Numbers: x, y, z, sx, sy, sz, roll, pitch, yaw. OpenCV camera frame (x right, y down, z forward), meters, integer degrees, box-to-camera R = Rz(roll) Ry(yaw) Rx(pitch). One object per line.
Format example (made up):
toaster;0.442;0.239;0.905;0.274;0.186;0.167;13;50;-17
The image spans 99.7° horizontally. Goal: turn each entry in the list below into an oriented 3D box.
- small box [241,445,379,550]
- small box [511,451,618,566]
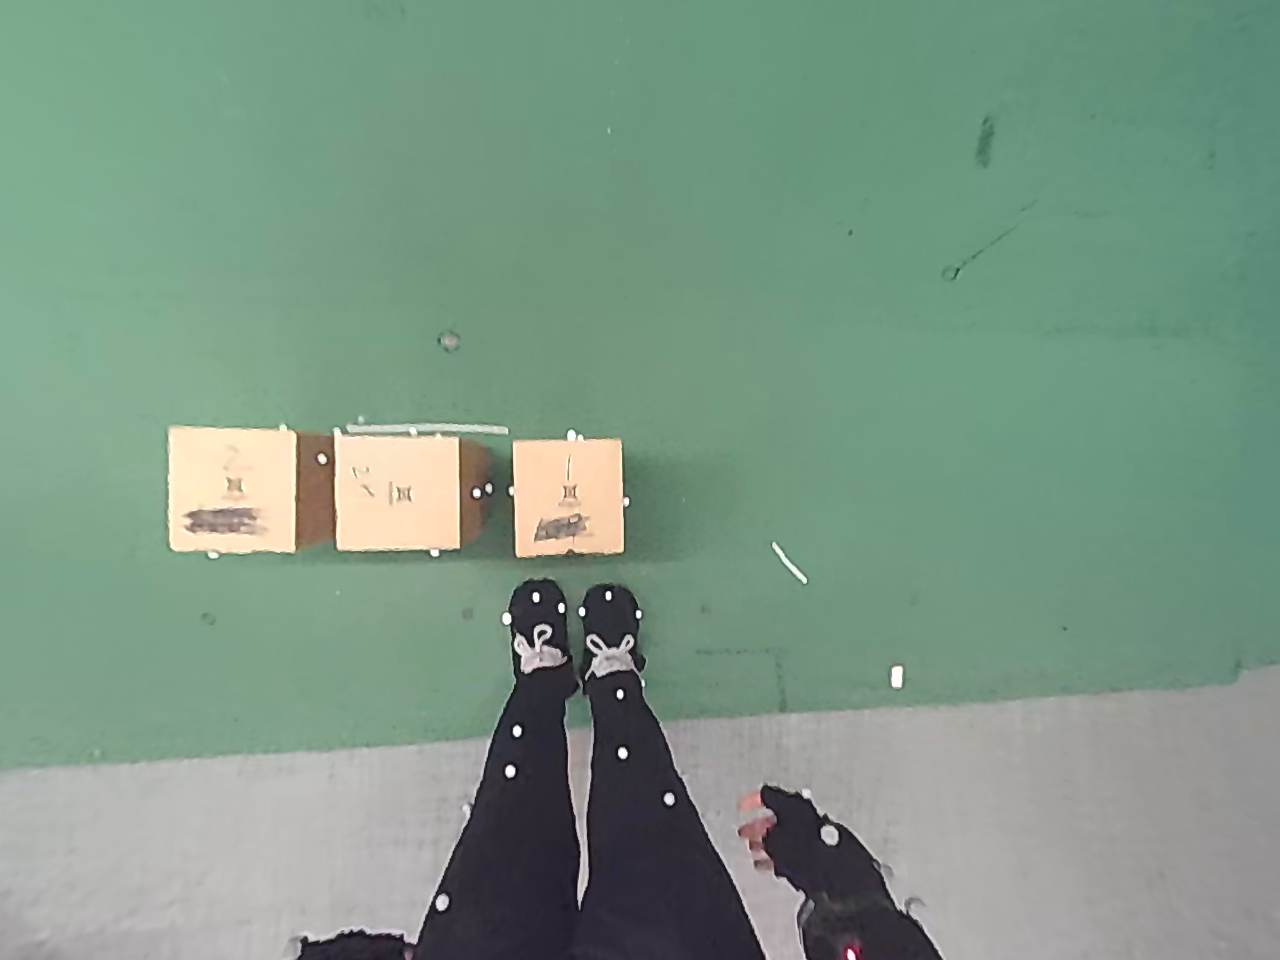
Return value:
small box;-0.606;0.028;1.014;0.168;0.176;0.179;4;91;-7
small box;-0.123;0.041;0.907;0.168;0.176;0.179;-1;91;-7
